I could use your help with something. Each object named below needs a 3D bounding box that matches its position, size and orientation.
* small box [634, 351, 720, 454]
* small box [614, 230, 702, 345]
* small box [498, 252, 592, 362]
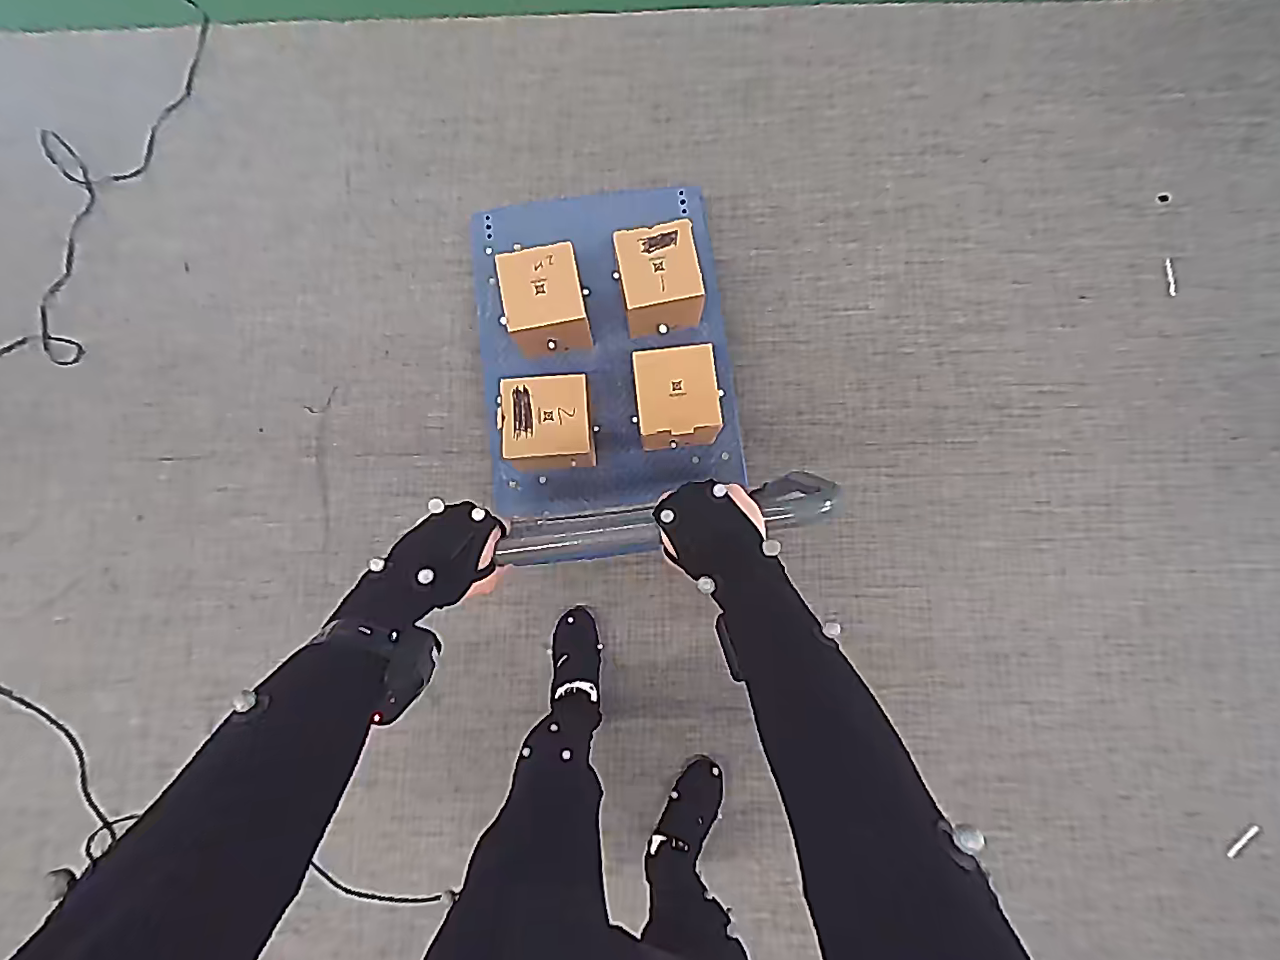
[{"bbox_3d":[0.074,-0.166,1.193,0.168,0.176,0.179,-6,82,-1],"label":"small box"},{"bbox_3d":[0.038,-0.431,1.230,0.168,0.176,0.179,-11,83,0],"label":"small box"},{"bbox_3d":[-0.208,-0.381,1.225,0.168,0.176,0.179,-11,82,-2],"label":"small box"}]
